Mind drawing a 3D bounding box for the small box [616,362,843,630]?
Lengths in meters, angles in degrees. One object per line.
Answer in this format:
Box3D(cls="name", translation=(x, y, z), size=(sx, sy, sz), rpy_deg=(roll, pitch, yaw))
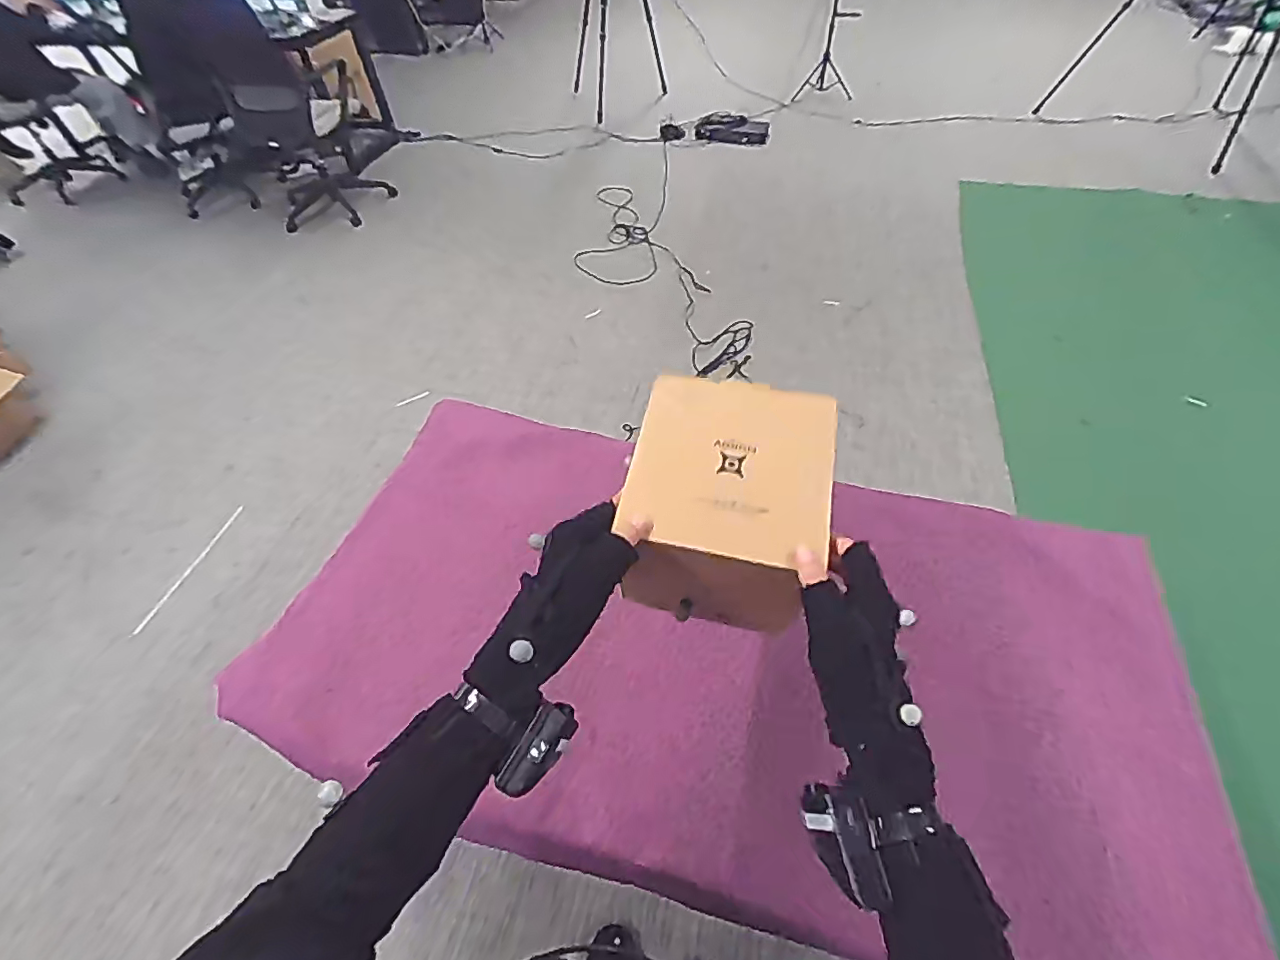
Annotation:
Box3D(cls="small box", translation=(0.080, 0.021, 0.507), size=(0.168, 0.176, 0.179), rpy_deg=(10, 61, 8))
